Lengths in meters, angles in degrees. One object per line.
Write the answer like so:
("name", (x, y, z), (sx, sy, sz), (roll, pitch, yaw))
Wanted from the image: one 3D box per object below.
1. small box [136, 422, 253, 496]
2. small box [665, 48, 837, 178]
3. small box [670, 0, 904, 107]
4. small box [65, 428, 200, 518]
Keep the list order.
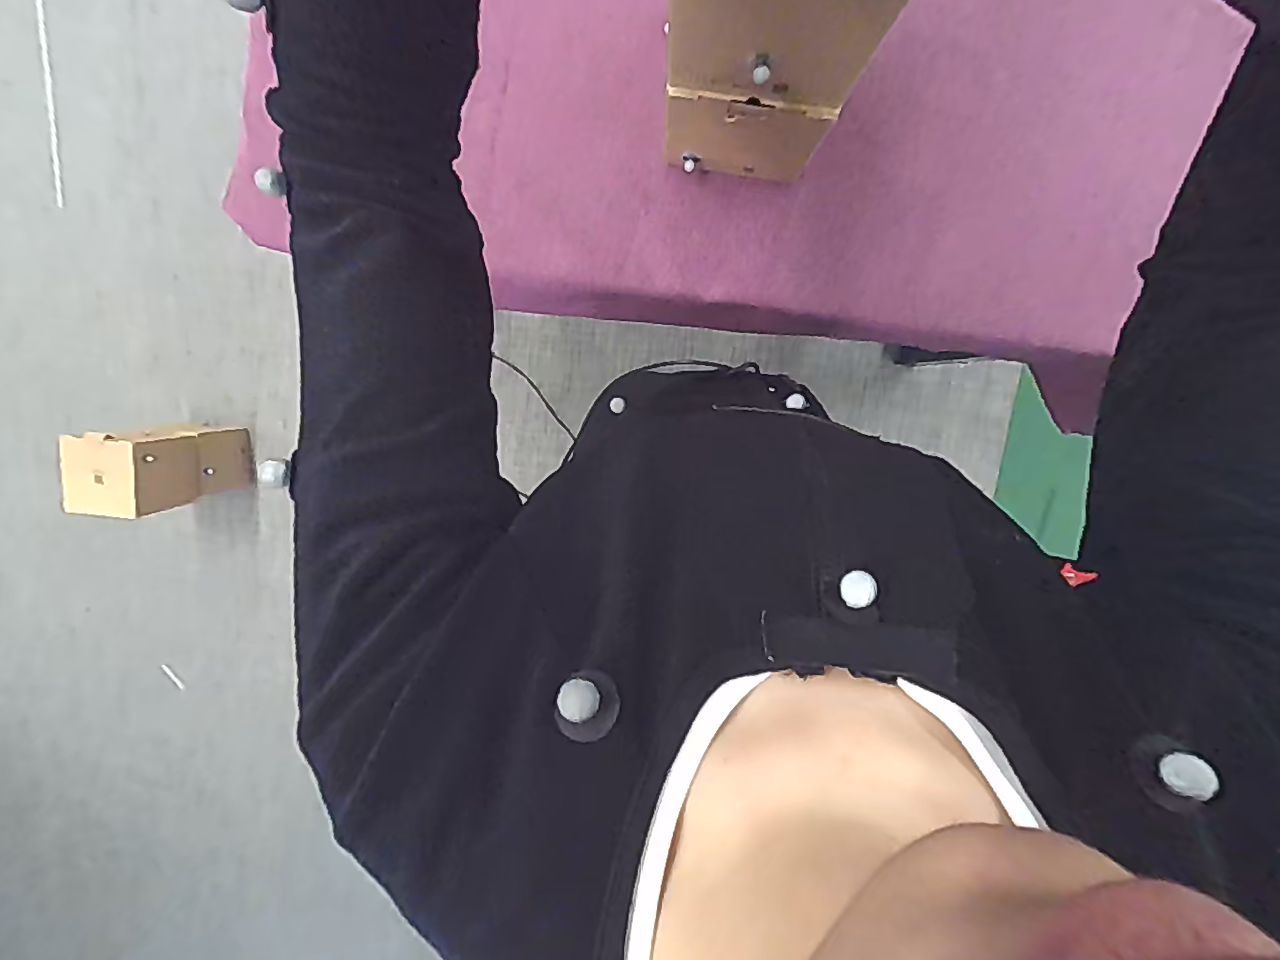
("small box", (-1.168, -0.061, 1.427), (0.179, 0.176, 0.168), (6, 100, 2))
("small box", (0.121, -0.452, 0.579), (0.168, 0.176, 0.179), (9, 99, 0))
("small box", (0.115, -0.433, 0.416), (0.168, 0.176, 0.179), (9, 100, 1))
("small box", (-1.177, -0.022, 1.268), (0.168, 0.176, 0.179), (6, 99, 1))
